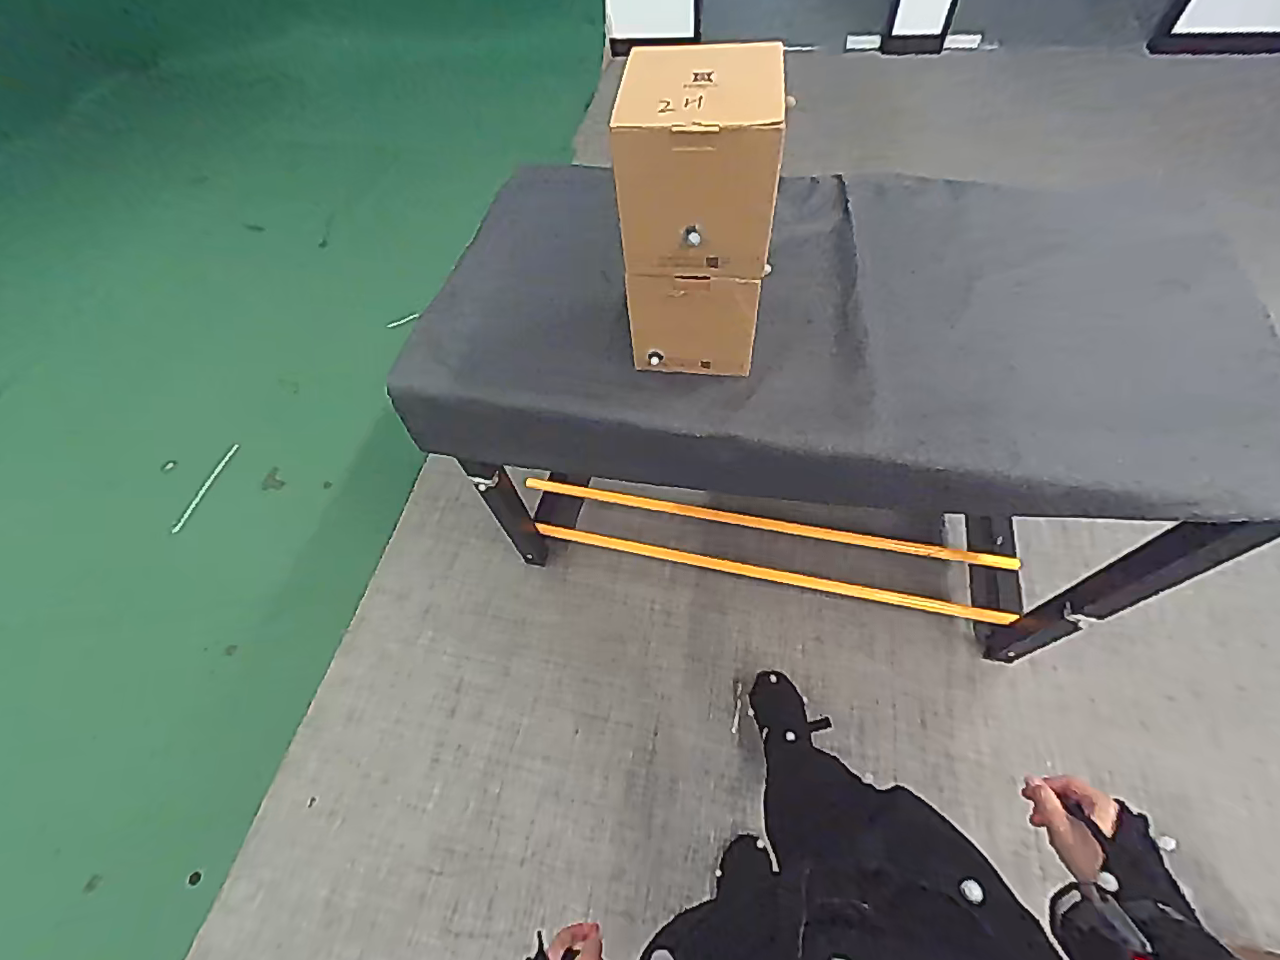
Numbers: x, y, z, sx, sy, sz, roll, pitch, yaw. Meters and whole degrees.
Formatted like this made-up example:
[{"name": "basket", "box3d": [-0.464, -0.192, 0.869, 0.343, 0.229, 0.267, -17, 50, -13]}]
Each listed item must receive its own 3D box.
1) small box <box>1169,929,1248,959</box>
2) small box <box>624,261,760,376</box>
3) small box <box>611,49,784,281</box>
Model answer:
[{"name": "small box", "box3d": [0.982, 0.849, 0.841, 0.168, 0.176, 0.179, 11, 62, 17]}, {"name": "small box", "box3d": [0.081, -0.265, 0.753, 0.168, 0.176, 0.179, 6, 58, 8]}, {"name": "small box", "box3d": [0.068, -0.353, 0.614, 0.168, 0.176, 0.179, 4, 59, 8]}]
